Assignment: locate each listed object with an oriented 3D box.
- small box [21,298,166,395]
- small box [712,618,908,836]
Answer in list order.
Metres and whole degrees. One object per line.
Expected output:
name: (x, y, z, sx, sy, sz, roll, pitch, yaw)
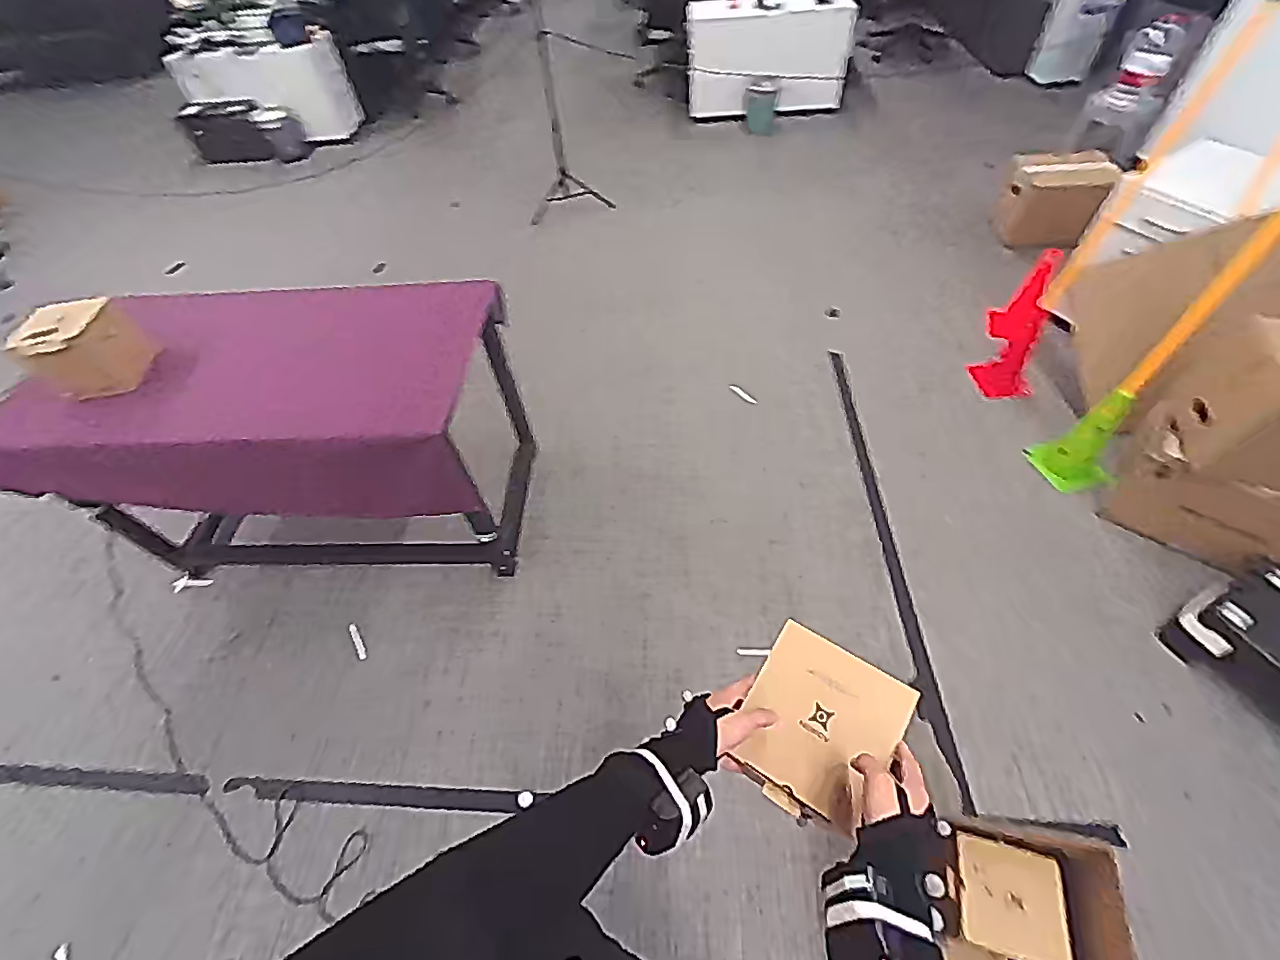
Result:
small box: (-1.376, -0.334, 1.380, 0.168, 0.176, 0.179, -9, 52, -3)
small box: (0.206, 0.312, 0.687, 0.168, 0.176, 0.179, 27, 67, 21)
